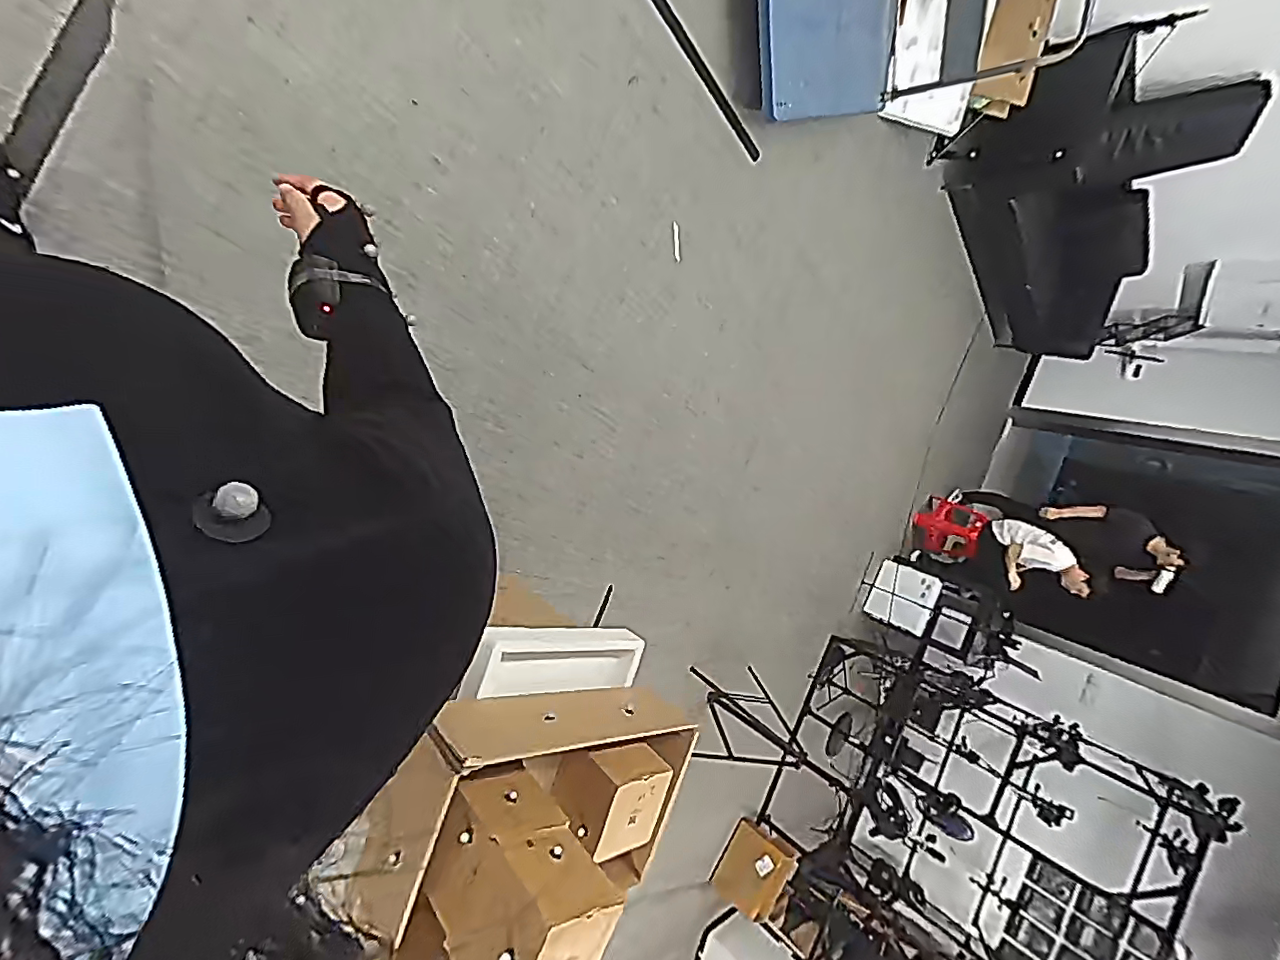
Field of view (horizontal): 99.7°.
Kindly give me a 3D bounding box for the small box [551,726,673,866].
[{"bbox_3d":[-0.065,0.656,1.146,0.168,0.176,0.179,14,96,-45],"label":"small box"}]
